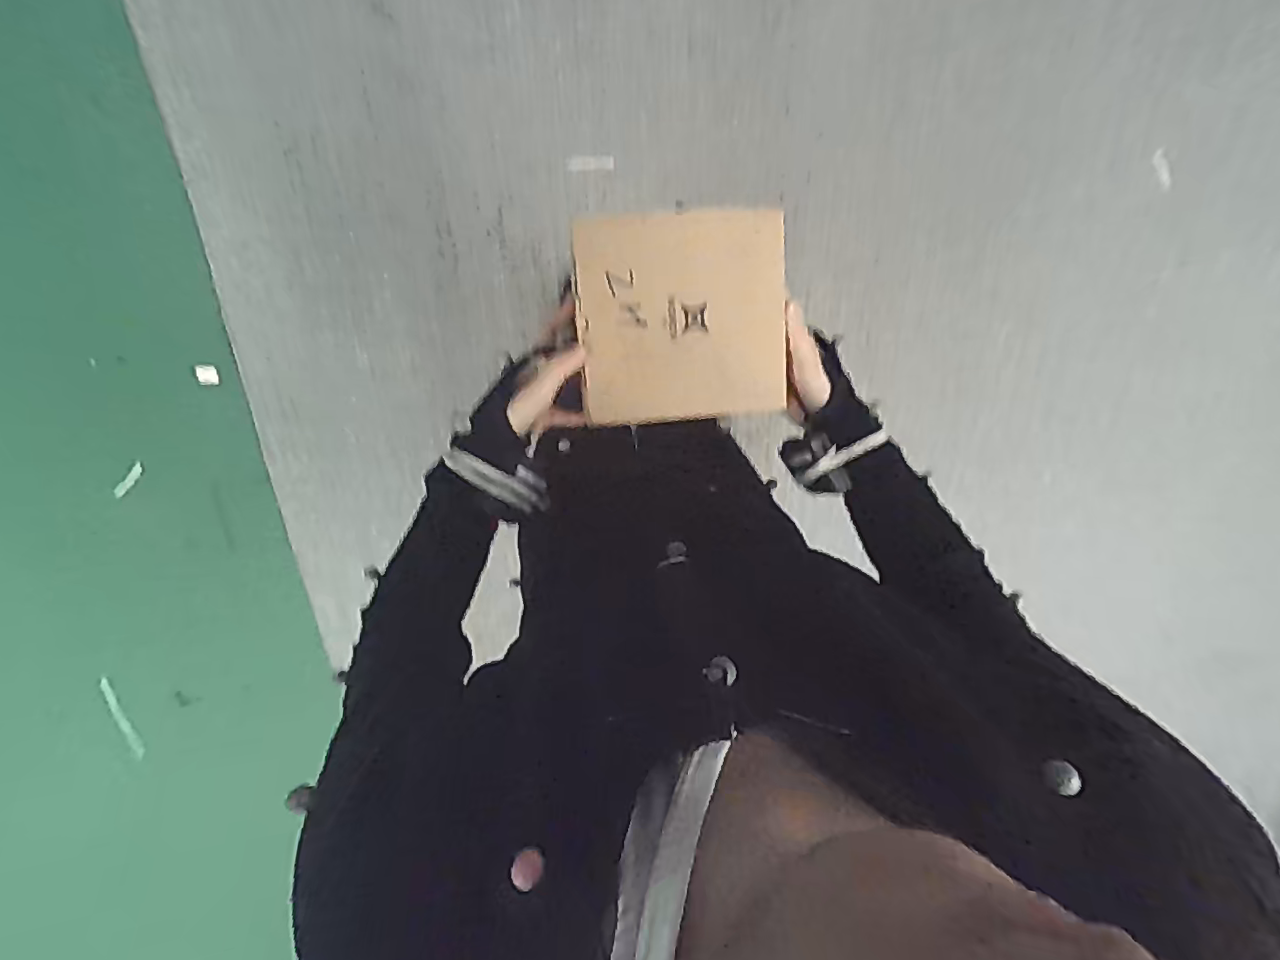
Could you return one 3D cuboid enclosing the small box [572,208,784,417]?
[{"bbox_3d":[0.026,-0.154,0.528,0.179,0.176,0.168,-5,102,-6],"label":"small box"}]
